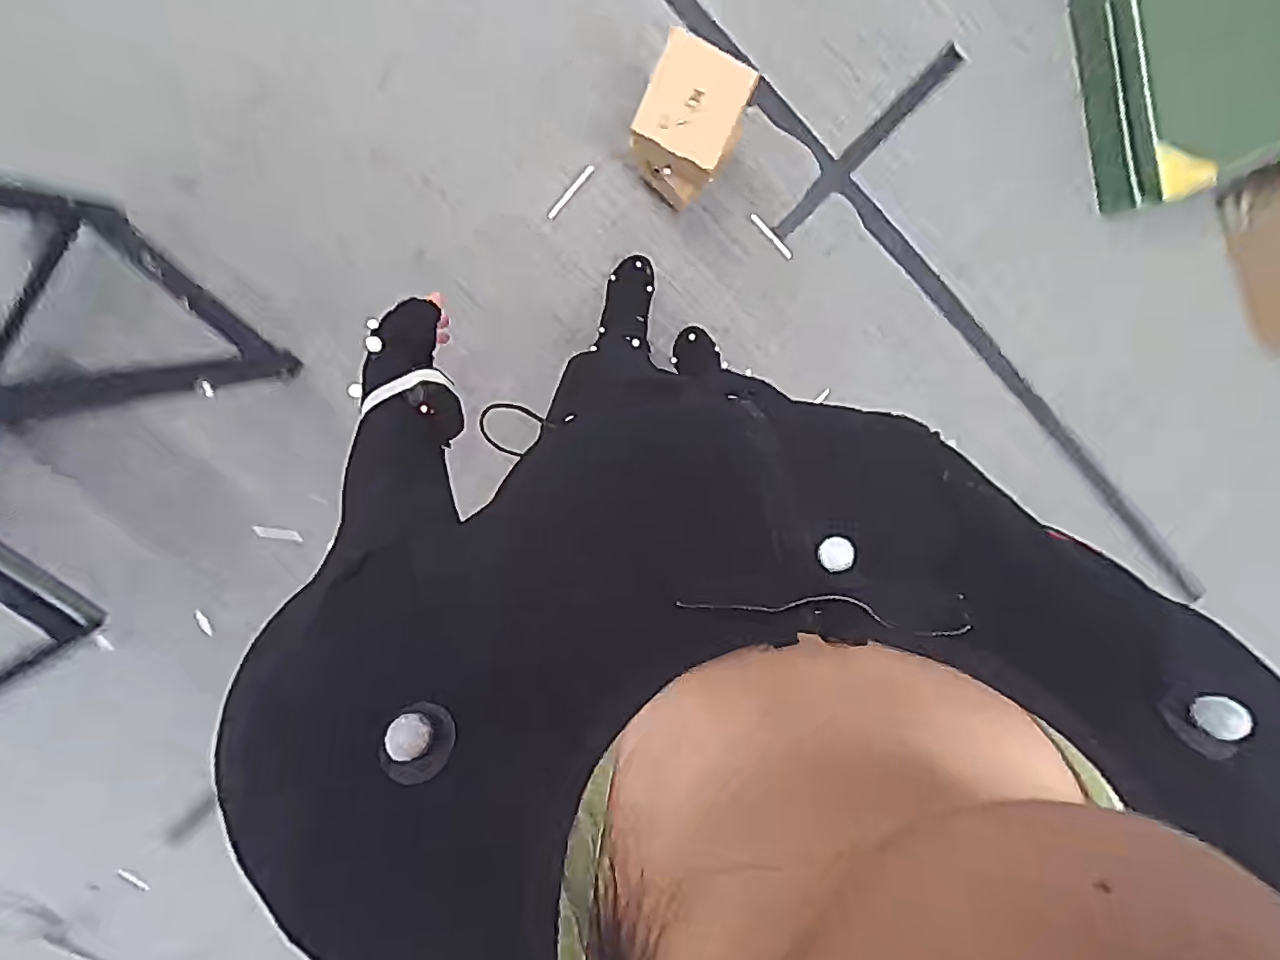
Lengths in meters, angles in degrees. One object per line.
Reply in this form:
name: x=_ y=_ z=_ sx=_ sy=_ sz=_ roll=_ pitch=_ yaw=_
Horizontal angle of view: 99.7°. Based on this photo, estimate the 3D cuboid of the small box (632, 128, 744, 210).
small box: x=0.103 y=-0.728 z=1.189 sx=0.168 sy=0.176 sz=0.179 roll=42 pitch=104 yaw=-11

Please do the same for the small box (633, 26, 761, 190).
small box: x=0.102 y=-0.689 z=1.028 sx=0.168 sy=0.176 sz=0.179 roll=30 pitch=108 yaw=-6
